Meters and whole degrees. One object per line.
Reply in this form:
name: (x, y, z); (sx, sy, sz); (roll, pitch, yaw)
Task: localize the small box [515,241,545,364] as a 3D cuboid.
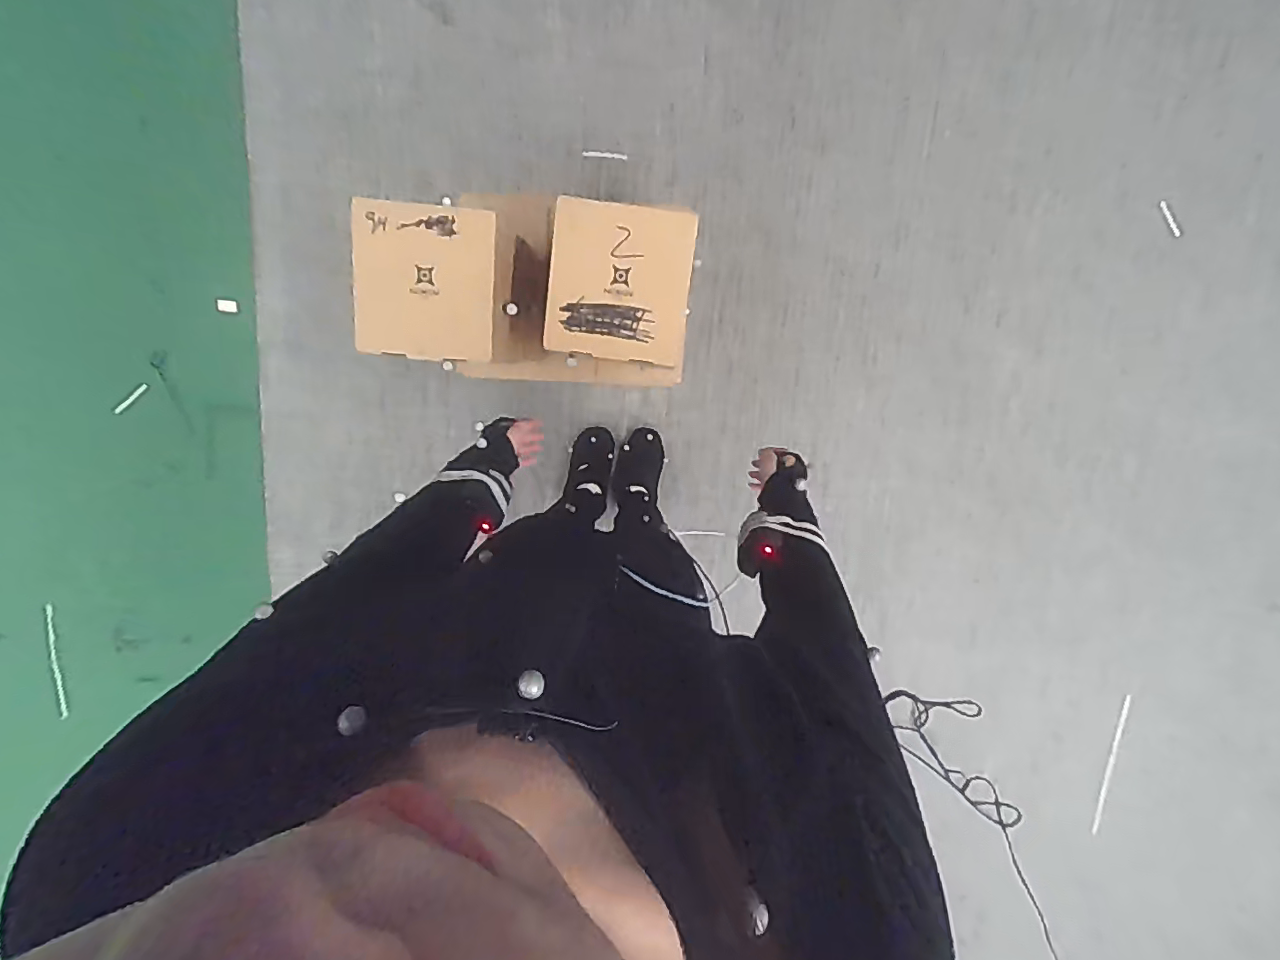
small box: (-0.251, -0.283, 0.874); (0.168, 0.176, 0.179); (4, 103, -1)

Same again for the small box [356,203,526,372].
small box: (-0.251, -0.243, 0.715); (0.168, 0.176, 0.179); (6, 103, -2)

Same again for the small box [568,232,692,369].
small box: (-0.014, -0.277, 0.872); (0.168, 0.176, 0.179); (8, 101, 0)
